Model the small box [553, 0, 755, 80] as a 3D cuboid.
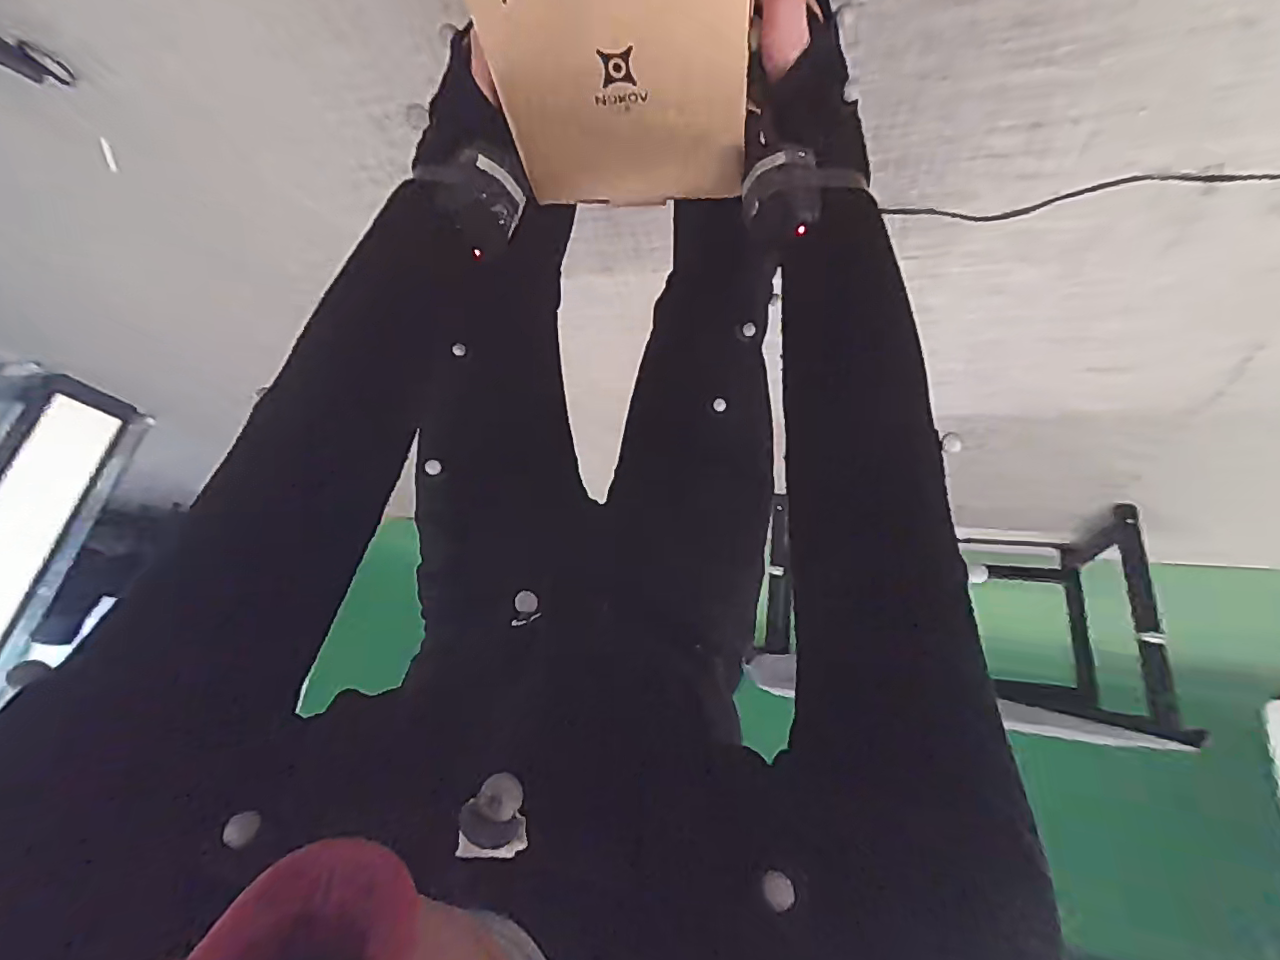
[{"bbox_3d":[0.015,-0.473,0.440,0.168,0.176,0.179,3,154,11],"label":"small box"}]
